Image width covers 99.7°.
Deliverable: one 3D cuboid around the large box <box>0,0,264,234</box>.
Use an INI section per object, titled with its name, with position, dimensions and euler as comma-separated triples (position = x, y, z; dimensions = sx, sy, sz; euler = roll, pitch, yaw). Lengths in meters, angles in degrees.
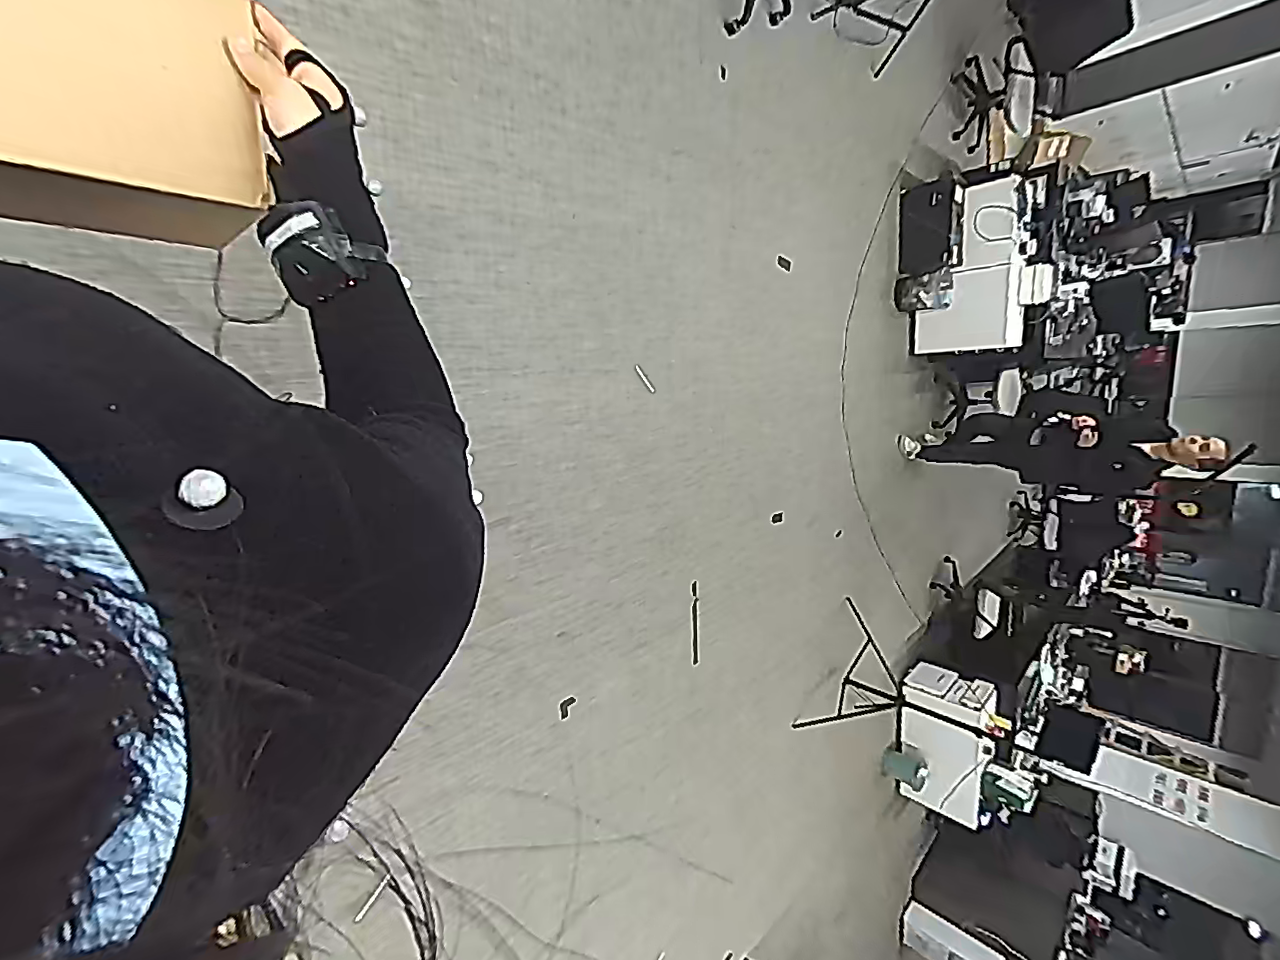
[large box]
position = -0.553, -0.386, 0.391
dimensions = 0.408, 0.320, 0.320
euler = -9, 107, -42
